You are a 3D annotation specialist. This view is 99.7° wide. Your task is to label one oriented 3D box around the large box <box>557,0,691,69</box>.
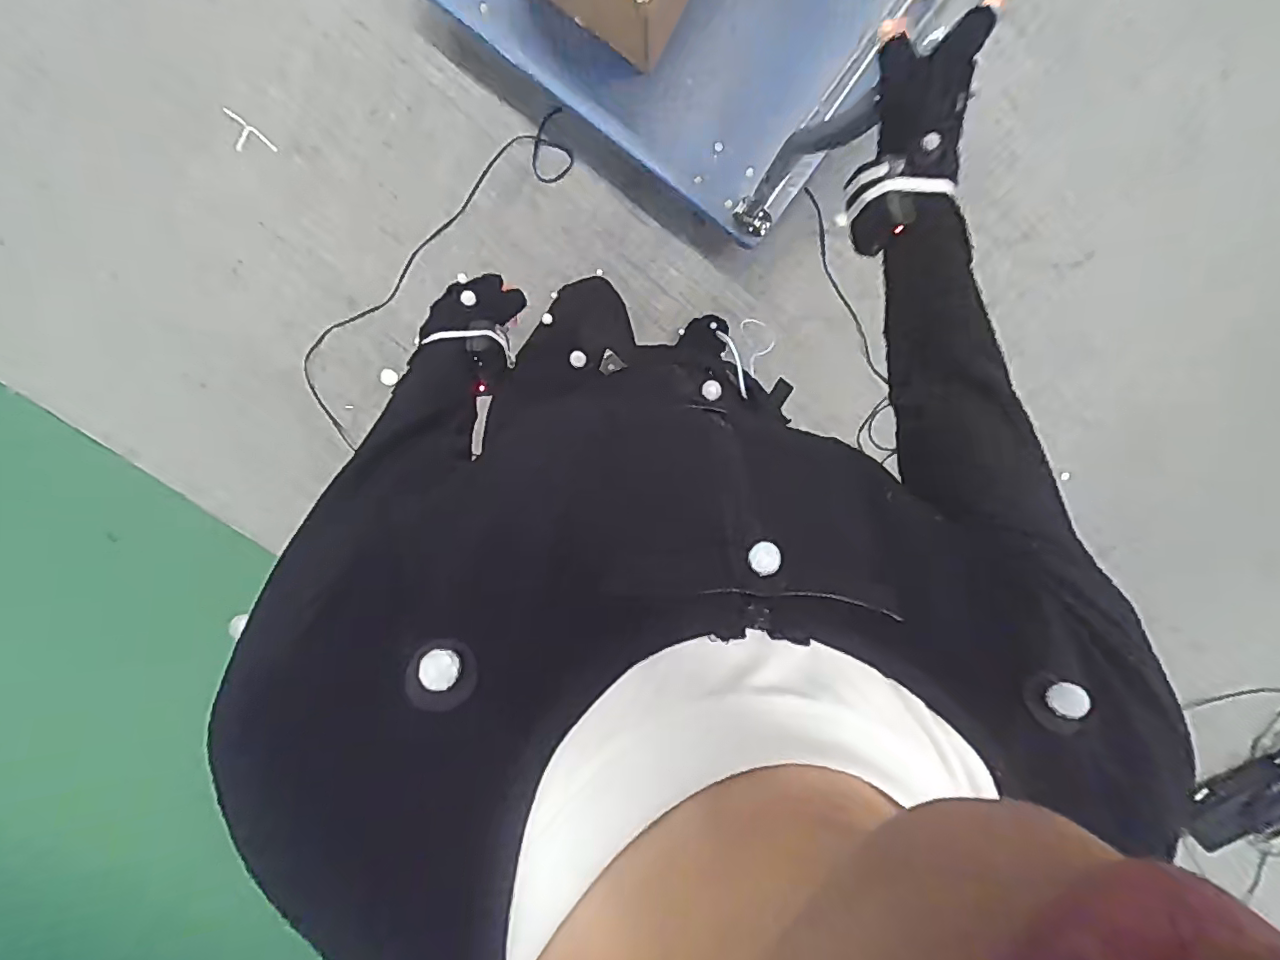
[{"bbox_3d":[0.000,-0.966,0.820,0.320,0.320,0.408,31,109,-10],"label":"large box"}]
